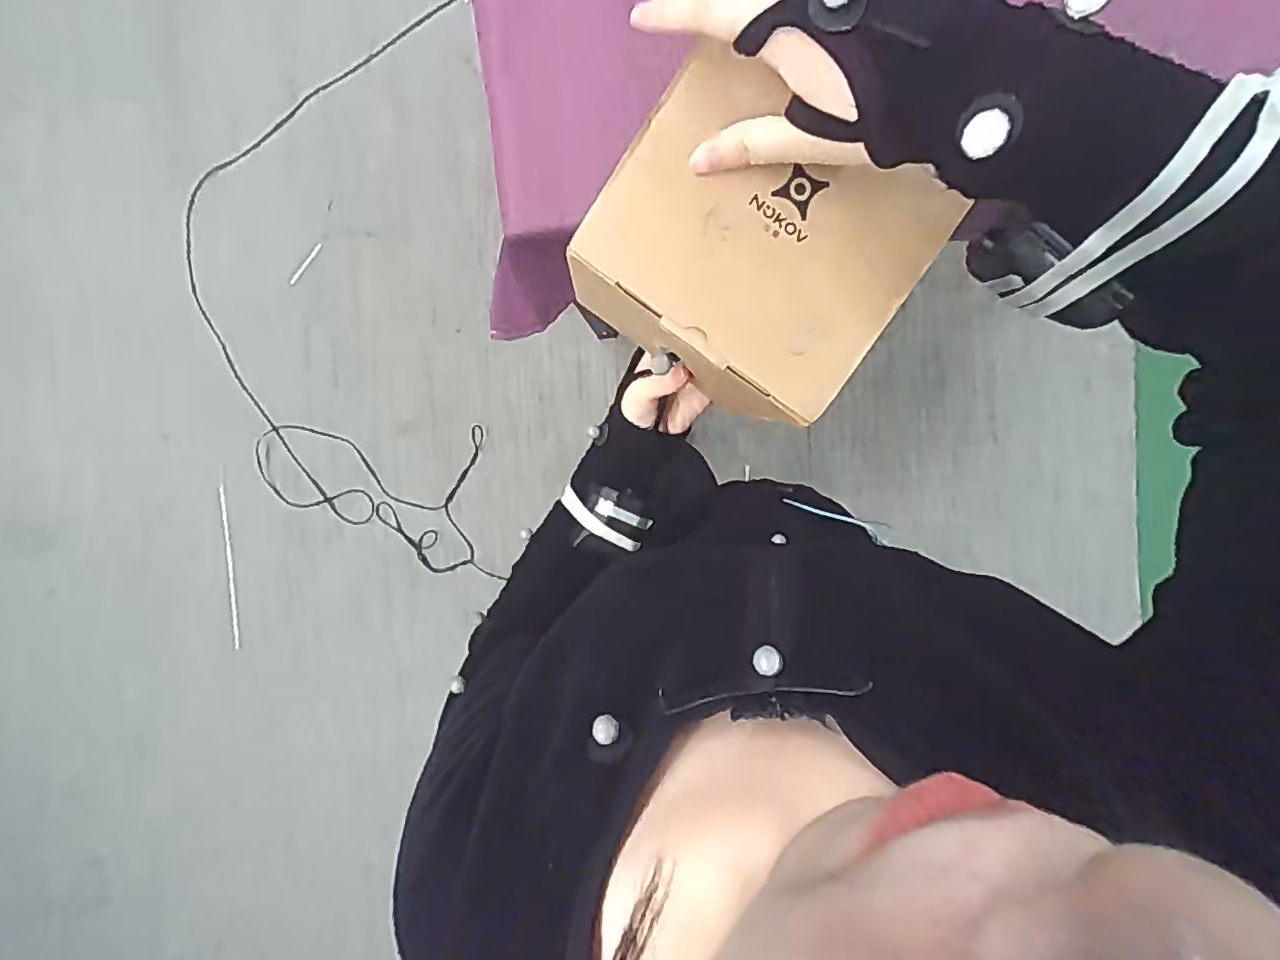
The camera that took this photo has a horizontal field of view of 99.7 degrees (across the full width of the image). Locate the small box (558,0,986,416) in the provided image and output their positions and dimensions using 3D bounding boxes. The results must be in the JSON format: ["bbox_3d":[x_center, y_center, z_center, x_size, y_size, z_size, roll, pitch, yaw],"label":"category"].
[{"bbox_3d":[0.066,-0.164,0.363,0.168,0.176,0.179,35,96,-11],"label":"small box"}]
